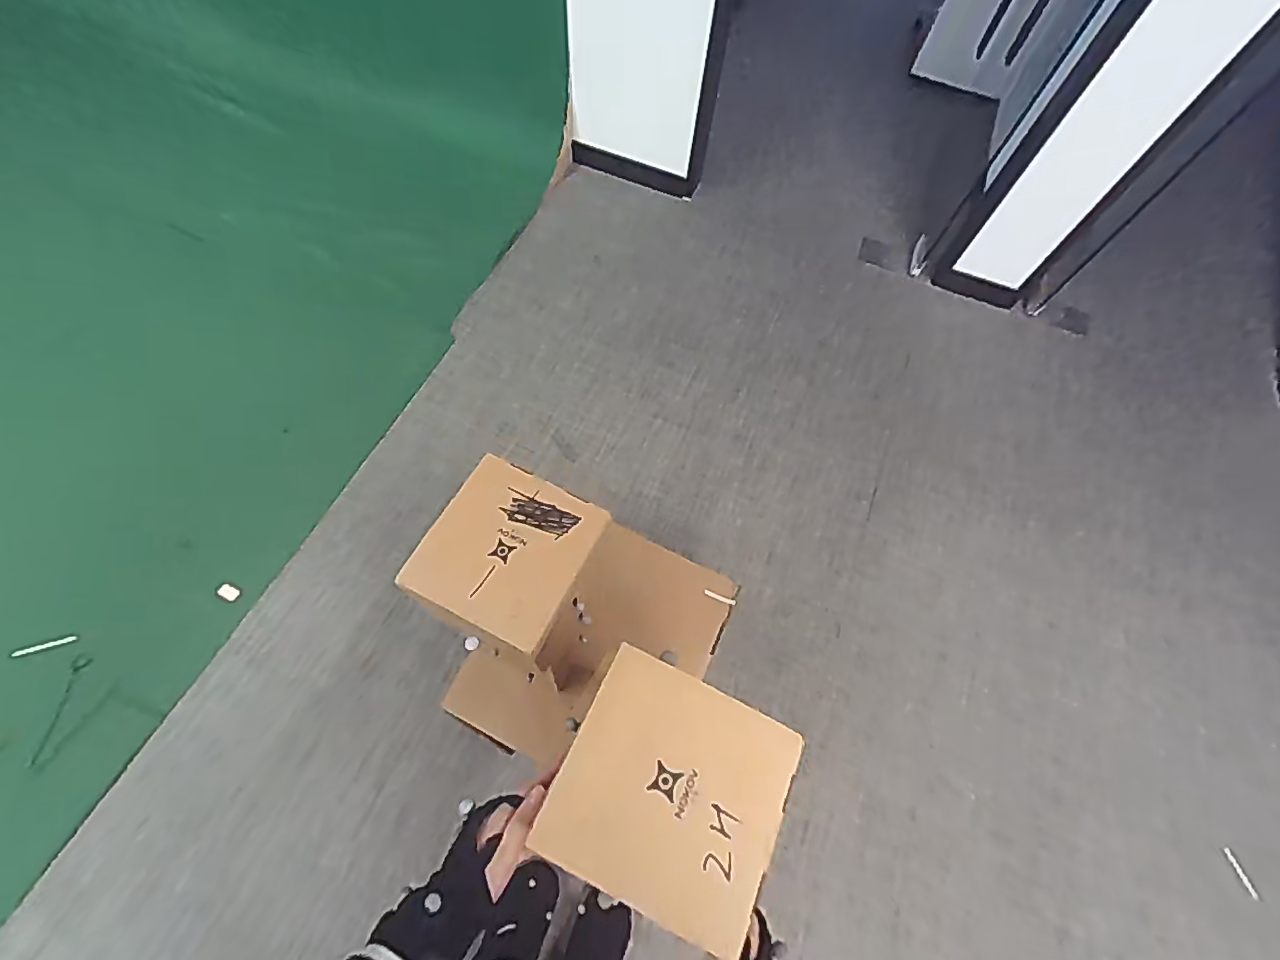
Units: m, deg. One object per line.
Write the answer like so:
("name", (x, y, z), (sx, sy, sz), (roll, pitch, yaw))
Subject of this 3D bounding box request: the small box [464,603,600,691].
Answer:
("small box", (-0.176, 0.248, 0.948), (0.168, 0.176, 0.179), (26, 62, 8))

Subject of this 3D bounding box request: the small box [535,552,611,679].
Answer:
("small box", (-0.157, 0.172, 0.804), (0.168, 0.176, 0.179), (26, 65, 8))

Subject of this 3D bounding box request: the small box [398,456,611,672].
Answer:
("small box", (-0.150, 0.108, 0.653), (0.168, 0.176, 0.179), (26, 64, 8))

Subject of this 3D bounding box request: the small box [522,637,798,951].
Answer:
("small box", (0.012, 0.273, 0.500), (0.179, 0.176, 0.168), (27, 64, 5))
